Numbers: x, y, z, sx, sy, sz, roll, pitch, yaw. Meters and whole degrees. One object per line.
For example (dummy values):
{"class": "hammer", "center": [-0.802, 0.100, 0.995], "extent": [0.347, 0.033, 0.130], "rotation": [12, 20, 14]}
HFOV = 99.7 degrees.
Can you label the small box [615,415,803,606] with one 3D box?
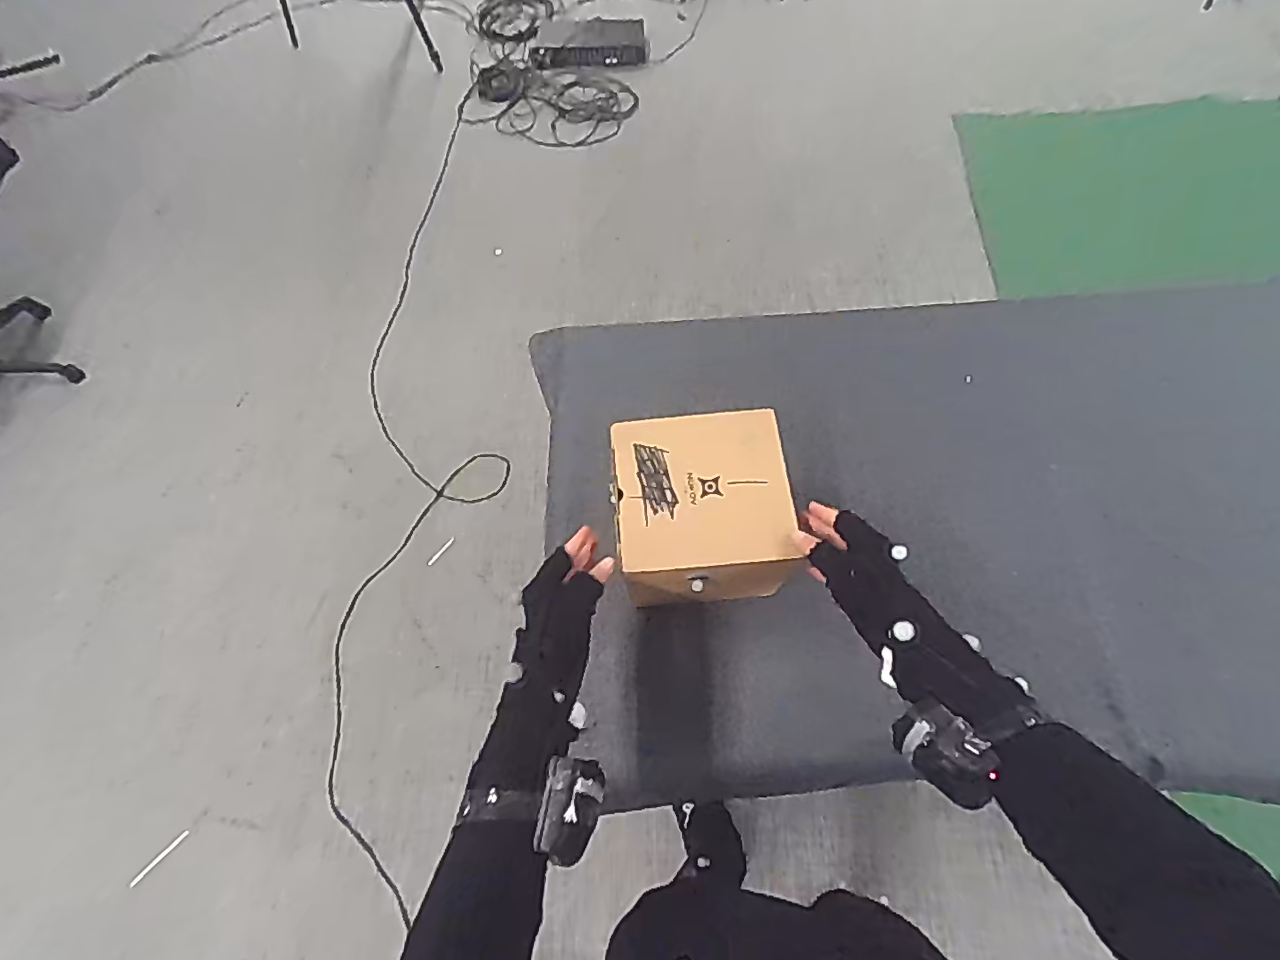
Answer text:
{"class": "small box", "center": [0.069, 0.044, 0.620], "extent": [0.179, 0.176, 0.168], "rotation": [-5, 66, 0]}
